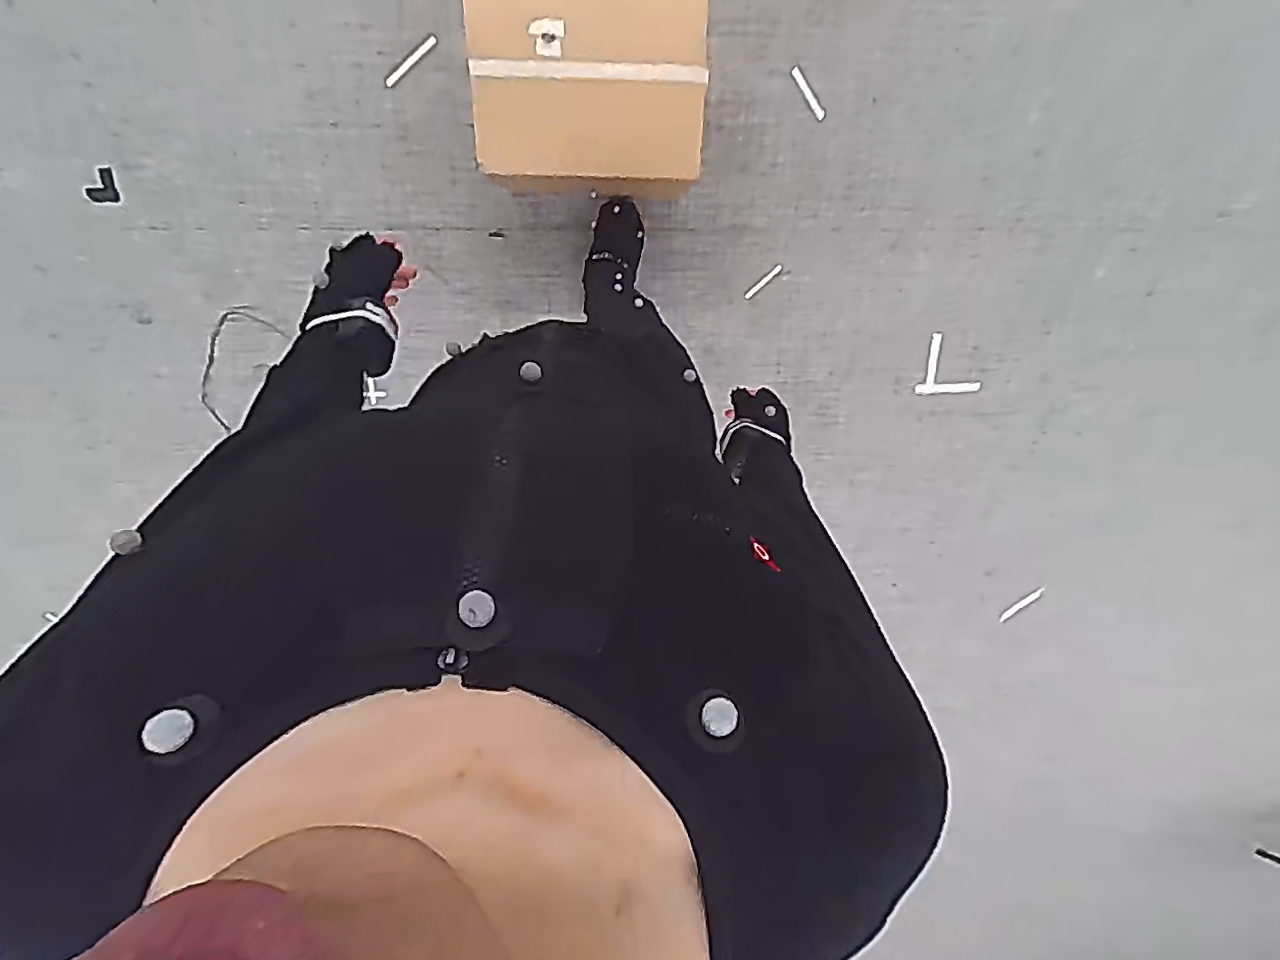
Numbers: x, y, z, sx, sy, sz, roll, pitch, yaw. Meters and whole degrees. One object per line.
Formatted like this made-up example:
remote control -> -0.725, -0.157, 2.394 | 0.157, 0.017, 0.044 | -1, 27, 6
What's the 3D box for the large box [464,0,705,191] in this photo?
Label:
large box -> -0.094, -0.756, 1.065 | 0.408, 0.320, 0.320 | 0, 111, -2
